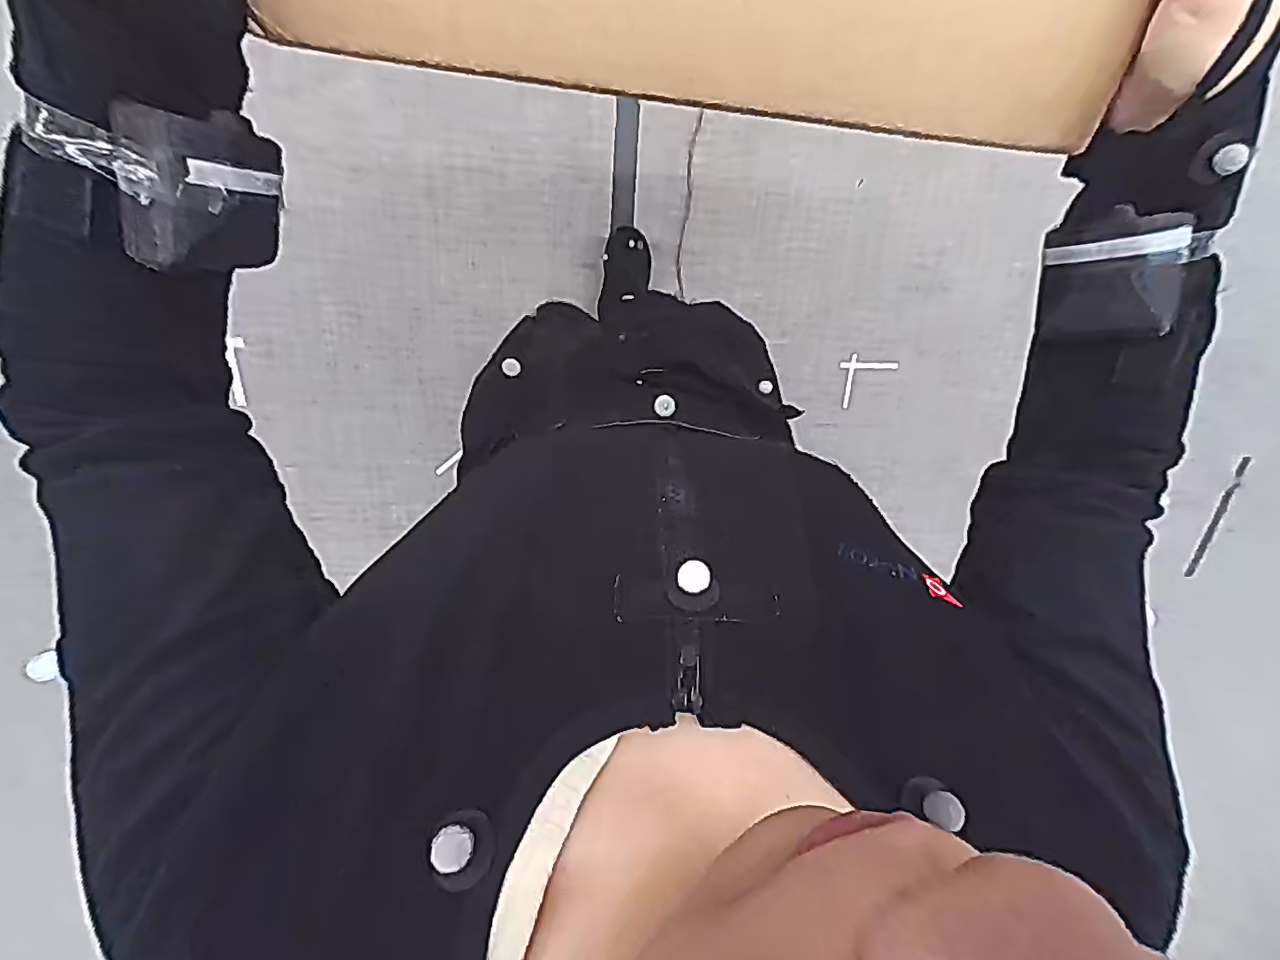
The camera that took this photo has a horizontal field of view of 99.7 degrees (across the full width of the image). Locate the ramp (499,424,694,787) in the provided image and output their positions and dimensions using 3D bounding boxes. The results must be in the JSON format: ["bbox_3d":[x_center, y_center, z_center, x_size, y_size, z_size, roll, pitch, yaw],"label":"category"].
[{"bbox_3d":[-0.125,0.356,1.433,0.509,0.206,0.991,0,109,-5],"label":"ramp"}]

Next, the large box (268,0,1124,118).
[{"bbox_3d":[0.032,-0.408,0.291,0.408,0.320,0.320,2,127,-9],"label":"large box"}]
